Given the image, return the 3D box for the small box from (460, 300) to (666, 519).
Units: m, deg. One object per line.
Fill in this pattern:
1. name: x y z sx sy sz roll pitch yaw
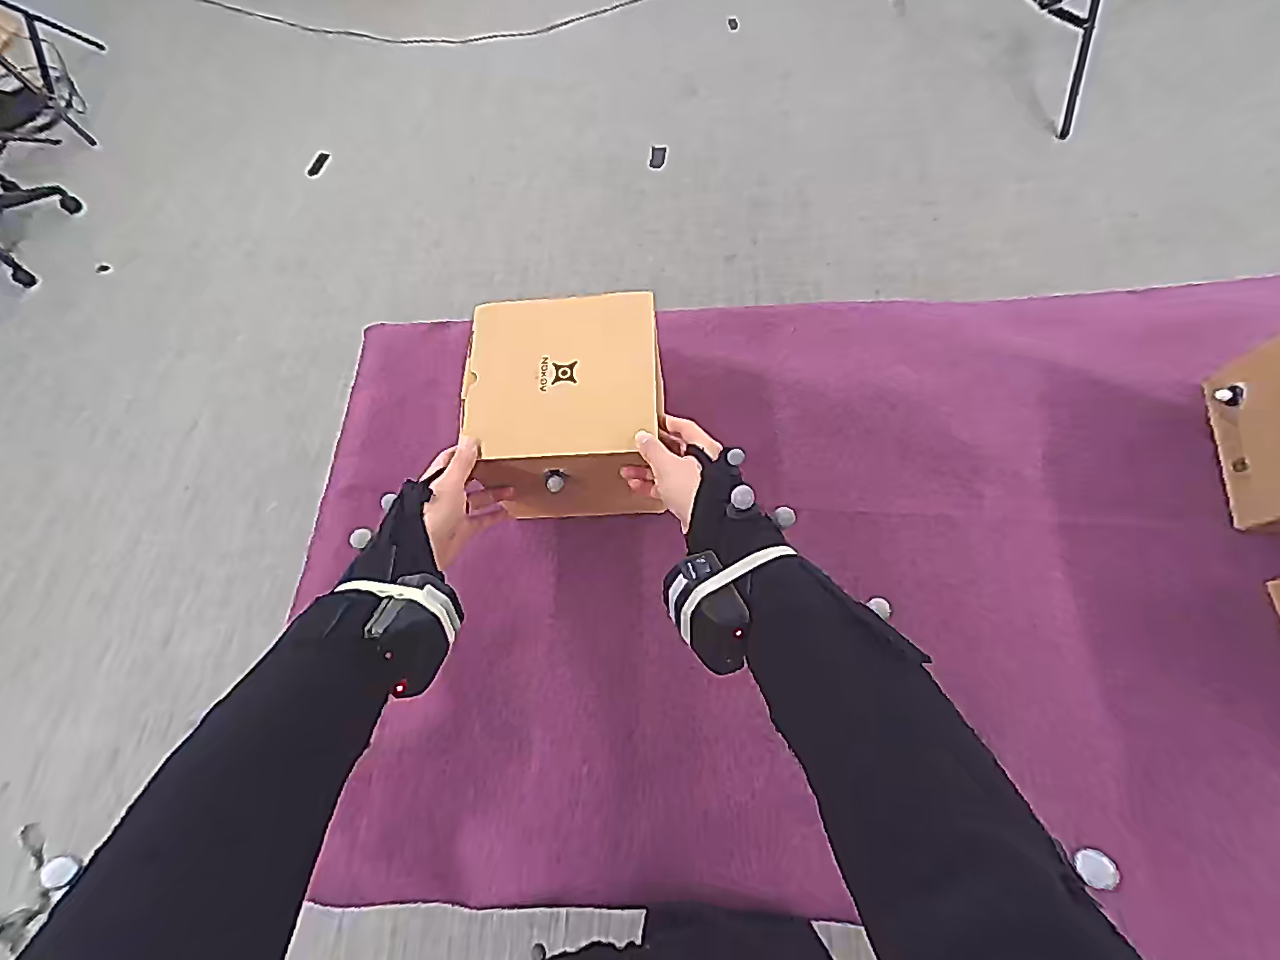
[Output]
1. small box: -0.062 -0.062 0.561 0.179 0.176 0.168 -3 68 5

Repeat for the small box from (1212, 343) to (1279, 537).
1. small box: 0.659 -0.043 0.465 0.179 0.176 0.168 6 70 8
